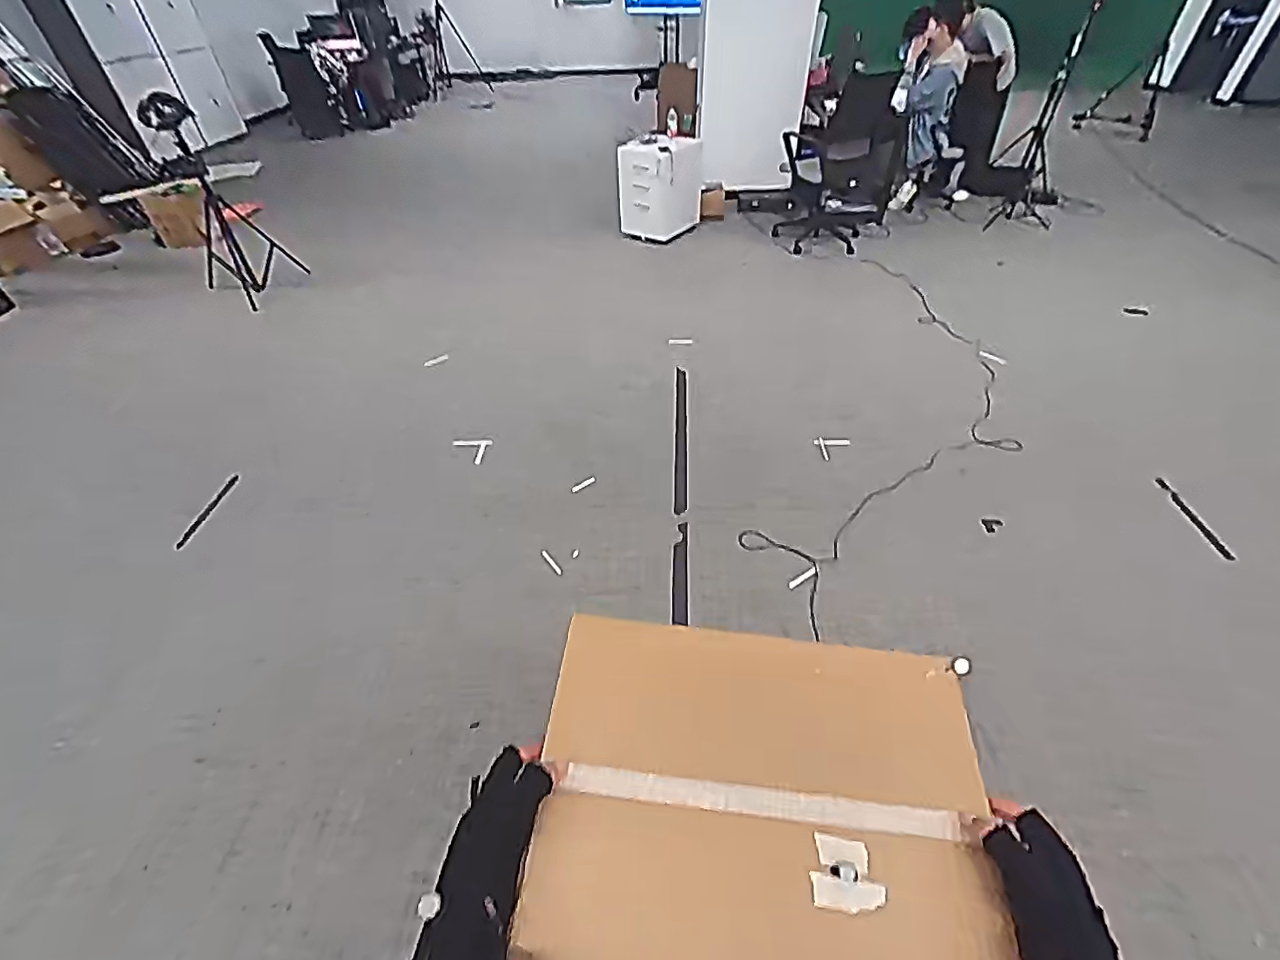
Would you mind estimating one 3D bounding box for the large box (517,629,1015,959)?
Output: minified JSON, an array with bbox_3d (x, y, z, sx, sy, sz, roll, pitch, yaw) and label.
[{"bbox_3d":[0.106,0.392,0.609,0.408,0.320,0.320,5,51,3],"label":"large box"}]
